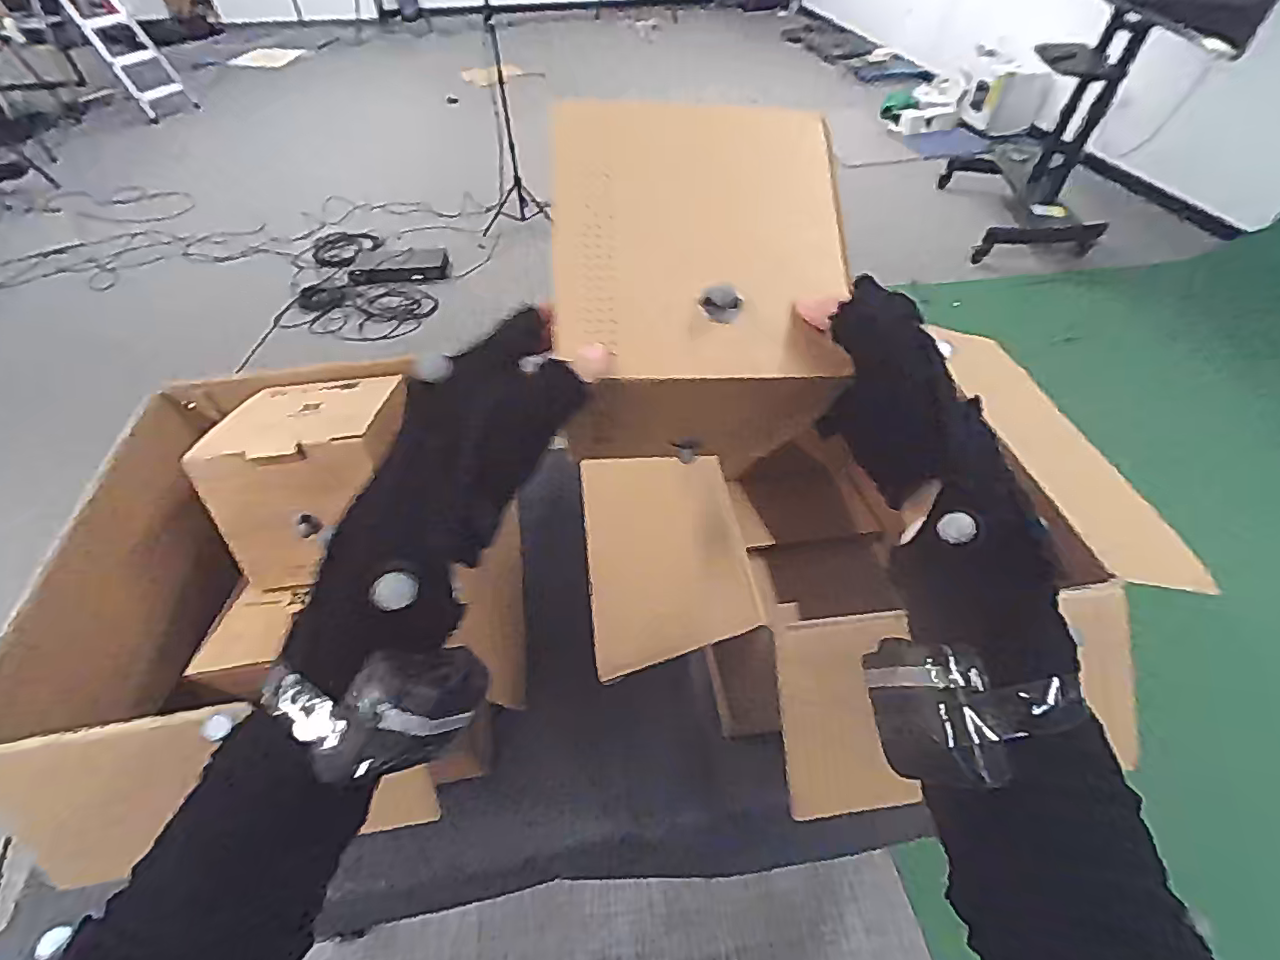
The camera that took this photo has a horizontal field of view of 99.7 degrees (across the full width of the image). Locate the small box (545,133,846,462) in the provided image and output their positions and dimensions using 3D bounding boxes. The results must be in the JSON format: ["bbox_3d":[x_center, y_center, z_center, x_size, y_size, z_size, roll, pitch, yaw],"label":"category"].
[{"bbox_3d":[0.025,-0.114,0.391,0.176,0.168,0.179,-2,79,-6],"label":"small box"}]
